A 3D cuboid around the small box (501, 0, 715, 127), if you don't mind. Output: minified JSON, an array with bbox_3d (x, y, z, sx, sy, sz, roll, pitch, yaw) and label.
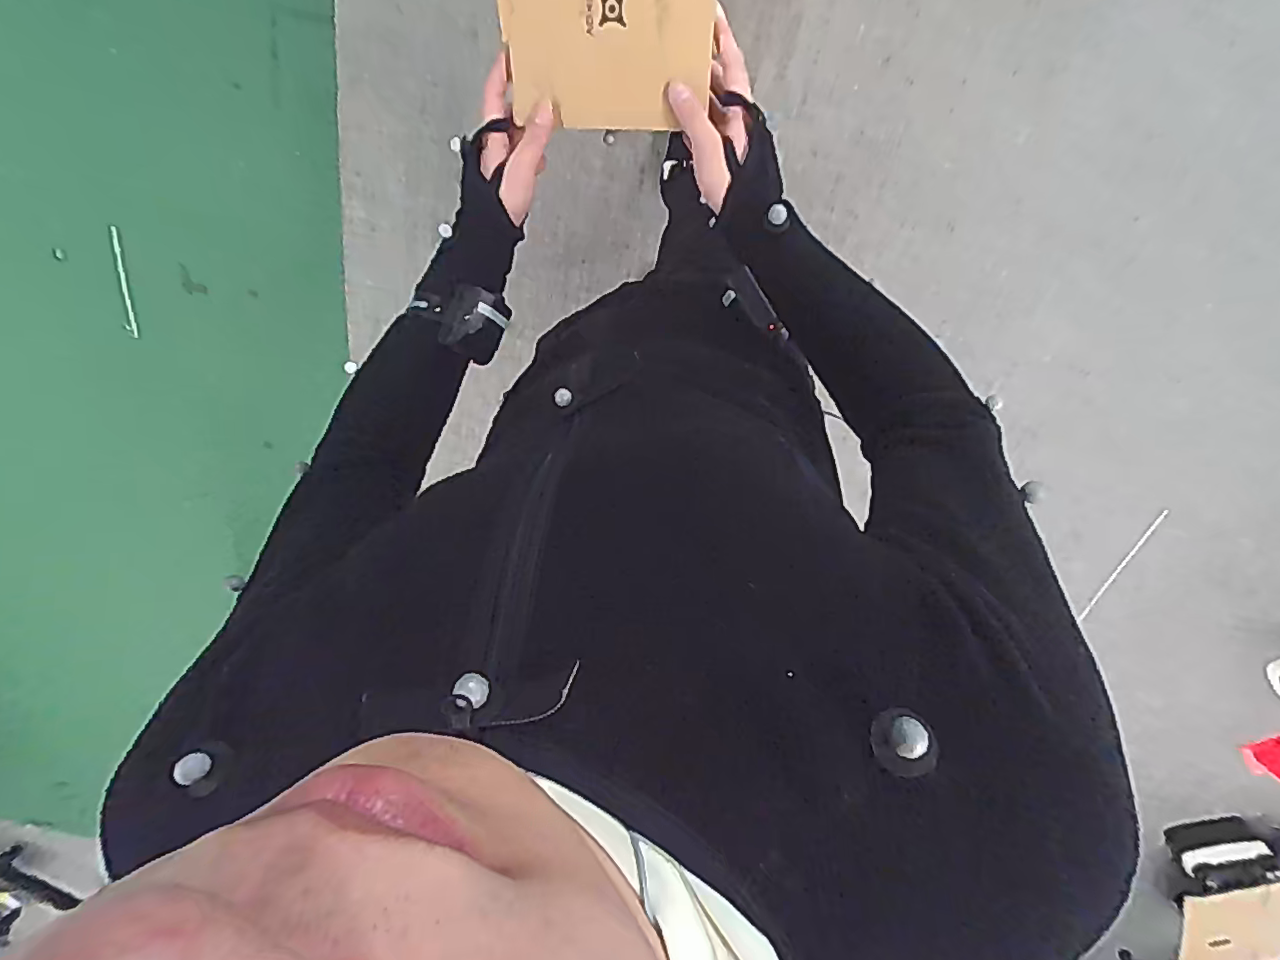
[{"bbox_3d":[-0.021,-0.428,0.498,0.179,0.176,0.168,3,126,2],"label":"small box"}]
